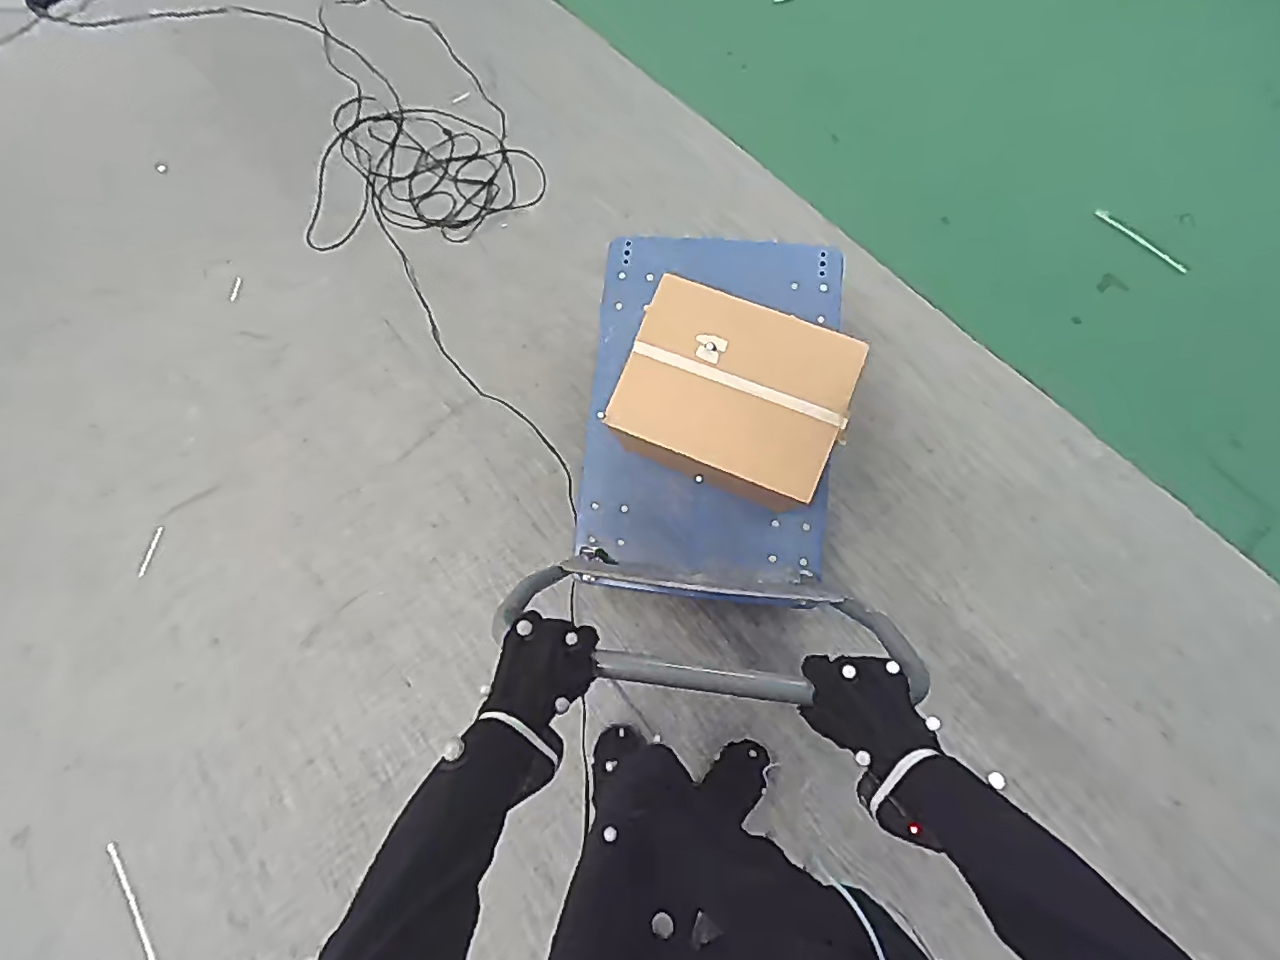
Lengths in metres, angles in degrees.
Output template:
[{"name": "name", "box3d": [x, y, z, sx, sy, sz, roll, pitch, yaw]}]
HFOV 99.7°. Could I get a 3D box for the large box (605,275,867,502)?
[{"name": "large box", "box3d": [0.189, -0.165, 1.129, 0.408, 0.320, 0.320, 21, 87, 8]}]
